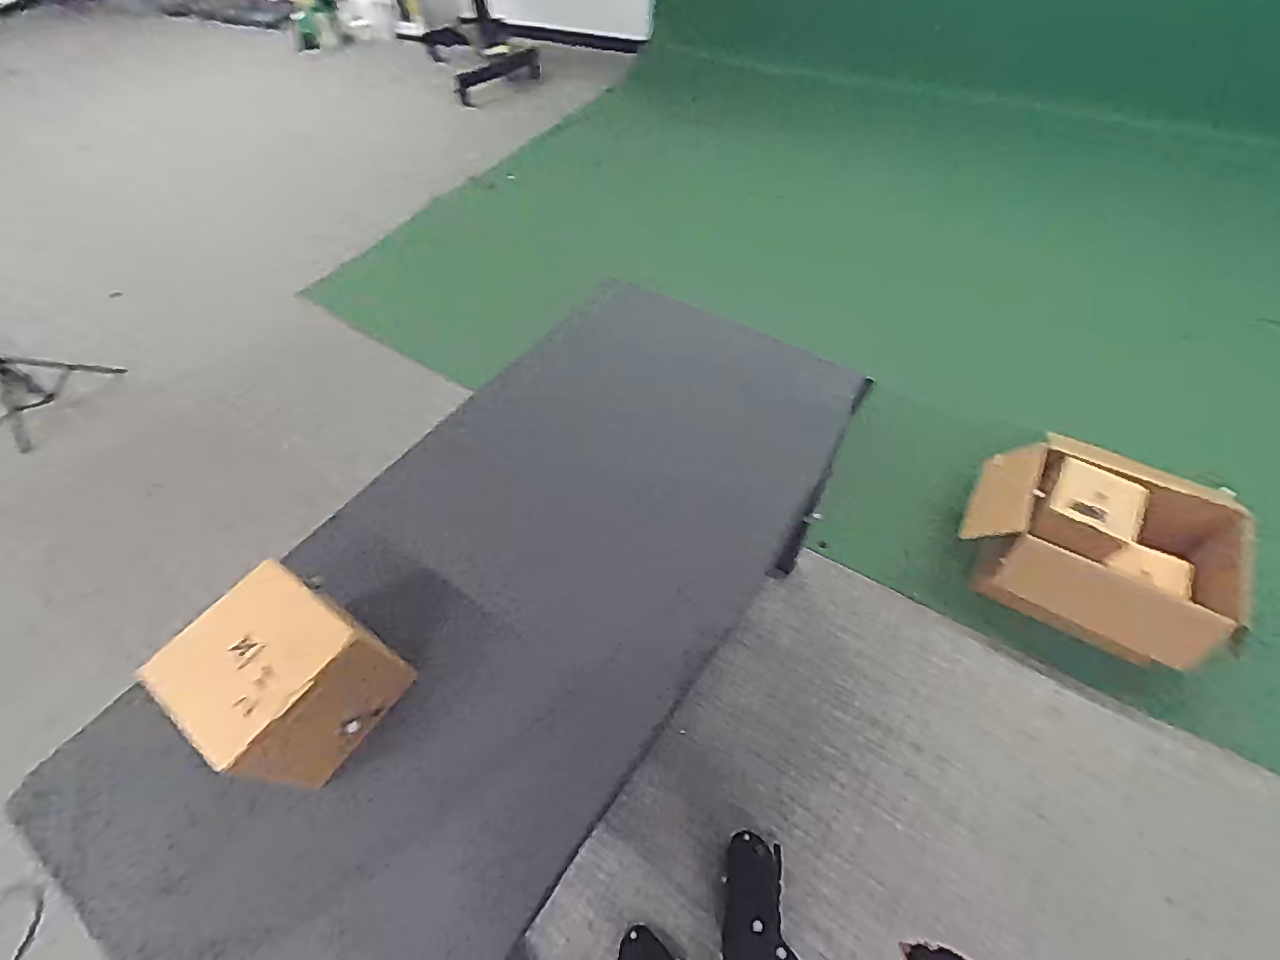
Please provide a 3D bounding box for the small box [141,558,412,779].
[{"bbox_3d":[-0.419,0.232,0.652,0.179,0.176,0.168,28,62,21],"label":"small box"}]
